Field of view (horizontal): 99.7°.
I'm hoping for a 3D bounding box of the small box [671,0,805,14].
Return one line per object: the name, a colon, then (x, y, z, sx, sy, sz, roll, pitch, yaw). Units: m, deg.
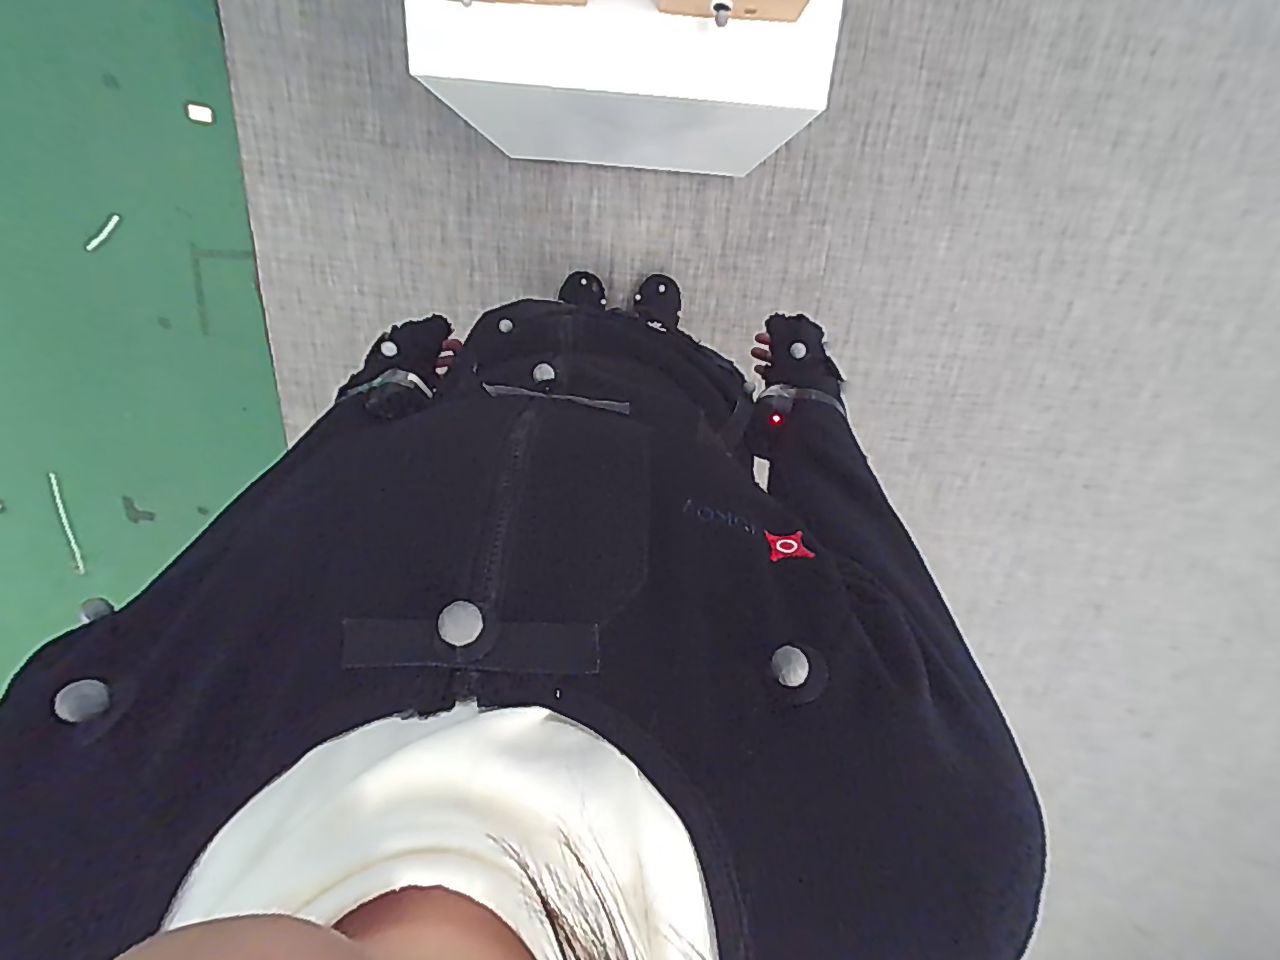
small box: (0.106, -0.584, 0.508, 0.168, 0.176, 0.179, 2, 114, 1)
